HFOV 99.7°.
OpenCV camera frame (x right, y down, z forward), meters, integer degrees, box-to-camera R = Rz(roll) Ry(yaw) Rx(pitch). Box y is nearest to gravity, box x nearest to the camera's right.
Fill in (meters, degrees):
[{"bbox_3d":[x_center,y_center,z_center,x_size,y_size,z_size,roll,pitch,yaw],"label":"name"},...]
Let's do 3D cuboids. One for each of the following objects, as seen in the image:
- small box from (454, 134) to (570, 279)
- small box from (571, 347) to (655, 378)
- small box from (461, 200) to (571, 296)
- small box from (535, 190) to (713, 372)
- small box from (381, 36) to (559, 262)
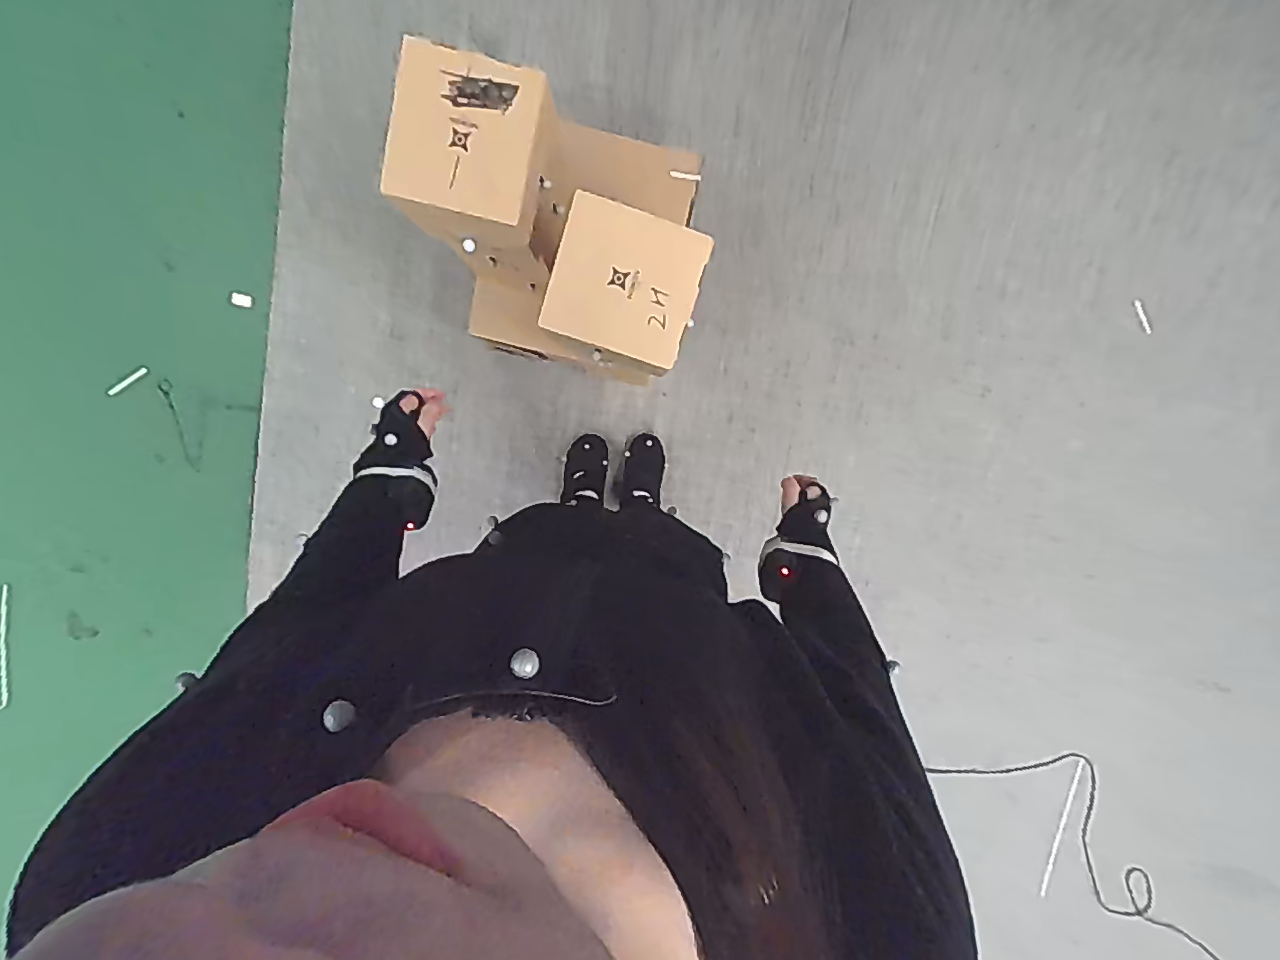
[{"bbox_3d":[-0.210,-0.444,0.865,0.168,0.176,0.179,13,98,-4],"label":"small box"},{"bbox_3d":[-0.033,-0.307,1.050,0.168,0.176,0.179,15,95,-4],"label":"small box"},{"bbox_3d":[-0.221,-0.462,1.028,0.168,0.176,0.179,13,95,-4],"label":"small box"},{"bbox_3d":[-0.022,-0.248,0.725,0.179,0.176,0.168,18,97,-5],"label":"small box"},{"bbox_3d":[-0.207,-0.411,0.705,0.168,0.176,0.179,13,97,-3],"label":"small box"}]
